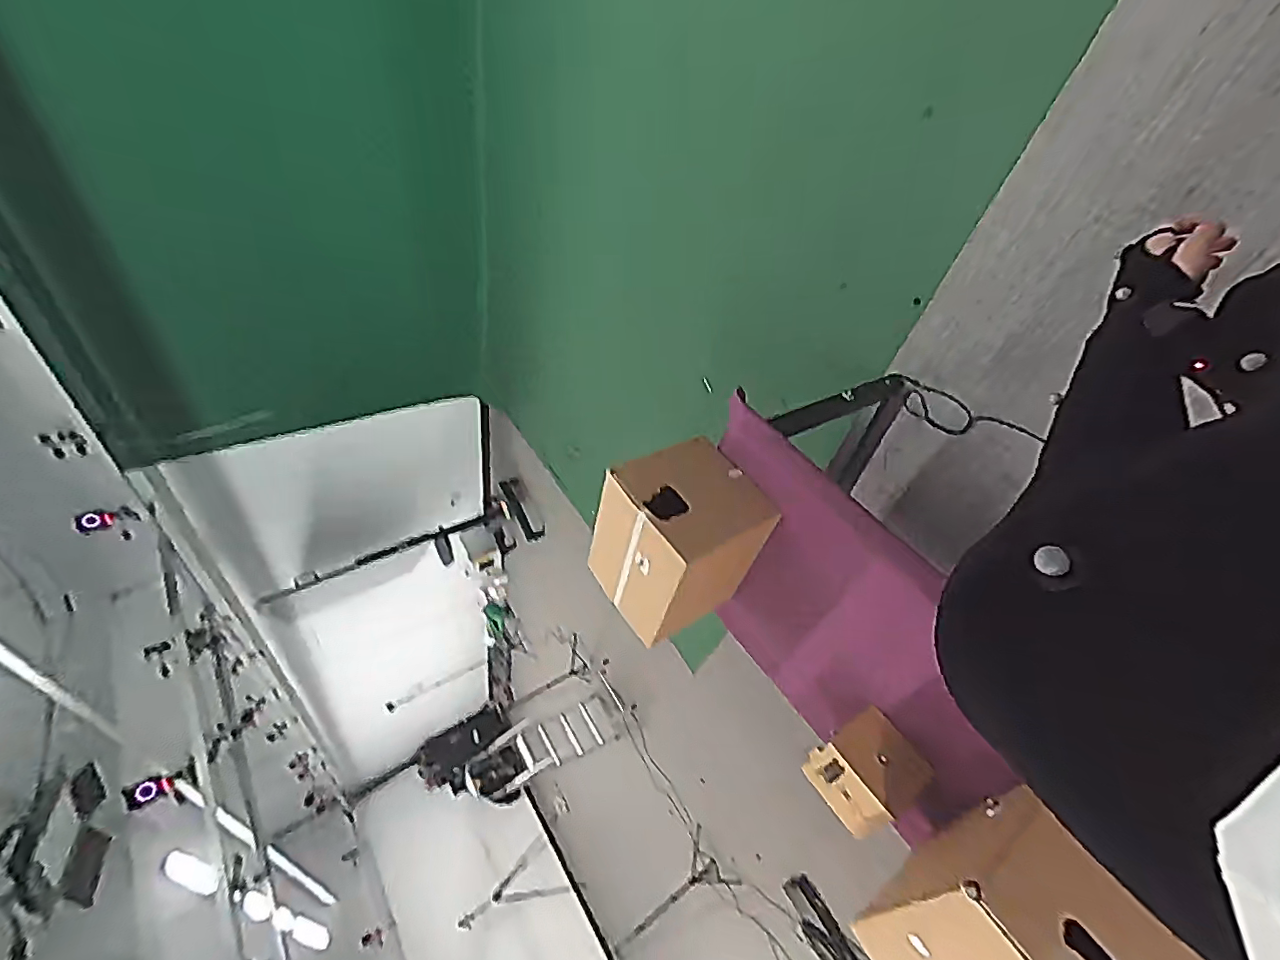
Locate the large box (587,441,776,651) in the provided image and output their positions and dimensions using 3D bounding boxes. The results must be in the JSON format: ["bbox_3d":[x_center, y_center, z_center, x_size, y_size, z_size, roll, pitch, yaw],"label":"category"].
[{"bbox_3d":[0.090,0.170,1.427,0.320,0.320,0.408,48,142,29],"label":"large box"}]
